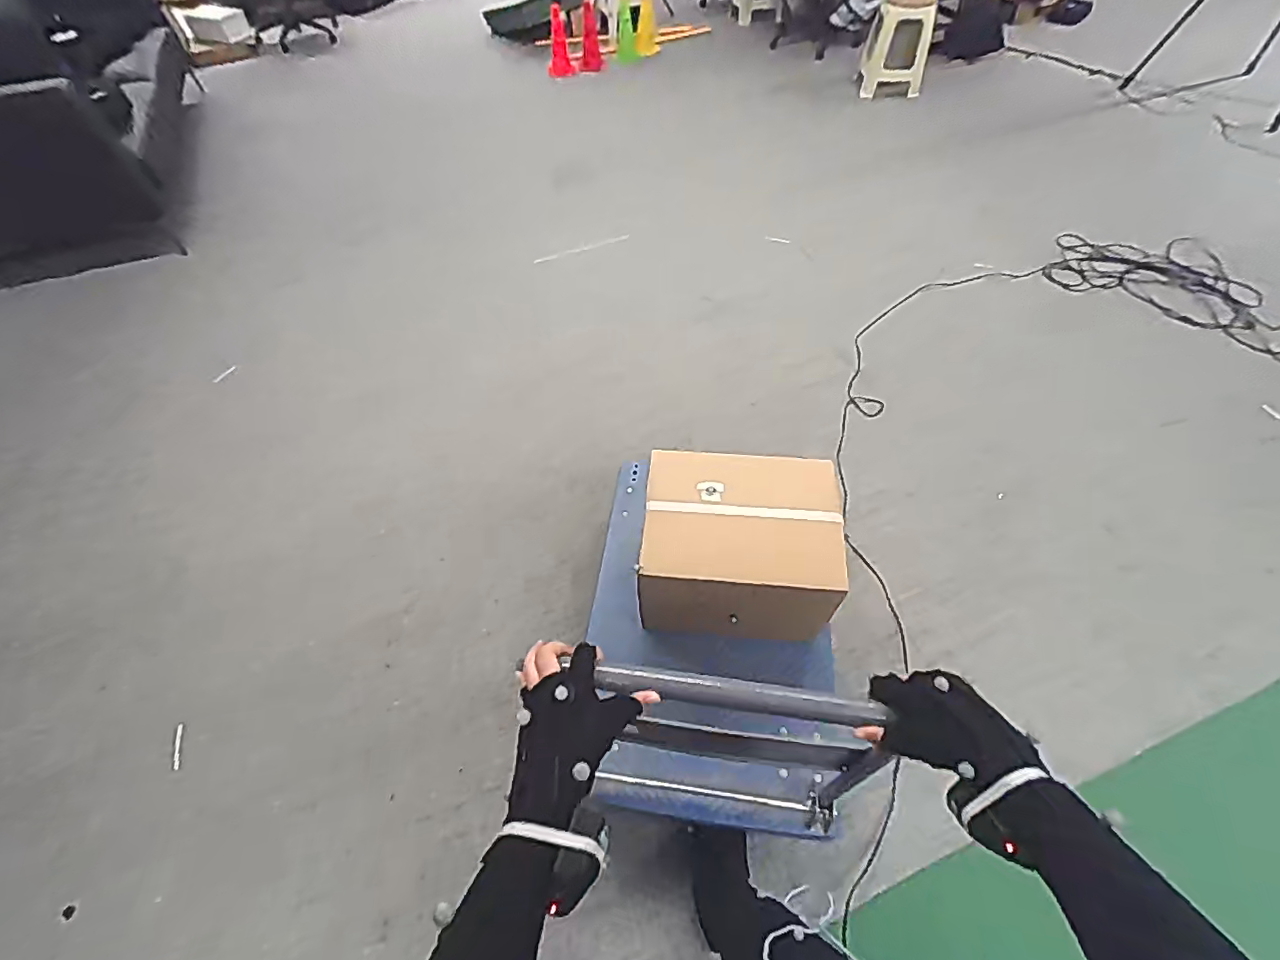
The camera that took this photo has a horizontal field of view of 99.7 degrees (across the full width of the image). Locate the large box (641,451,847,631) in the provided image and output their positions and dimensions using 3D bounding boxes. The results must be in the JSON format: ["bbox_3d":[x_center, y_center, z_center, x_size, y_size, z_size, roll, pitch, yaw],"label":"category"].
[{"bbox_3d":[0.220,0.148,1.256,0.408,0.320,0.320,2,55,5],"label":"large box"}]
